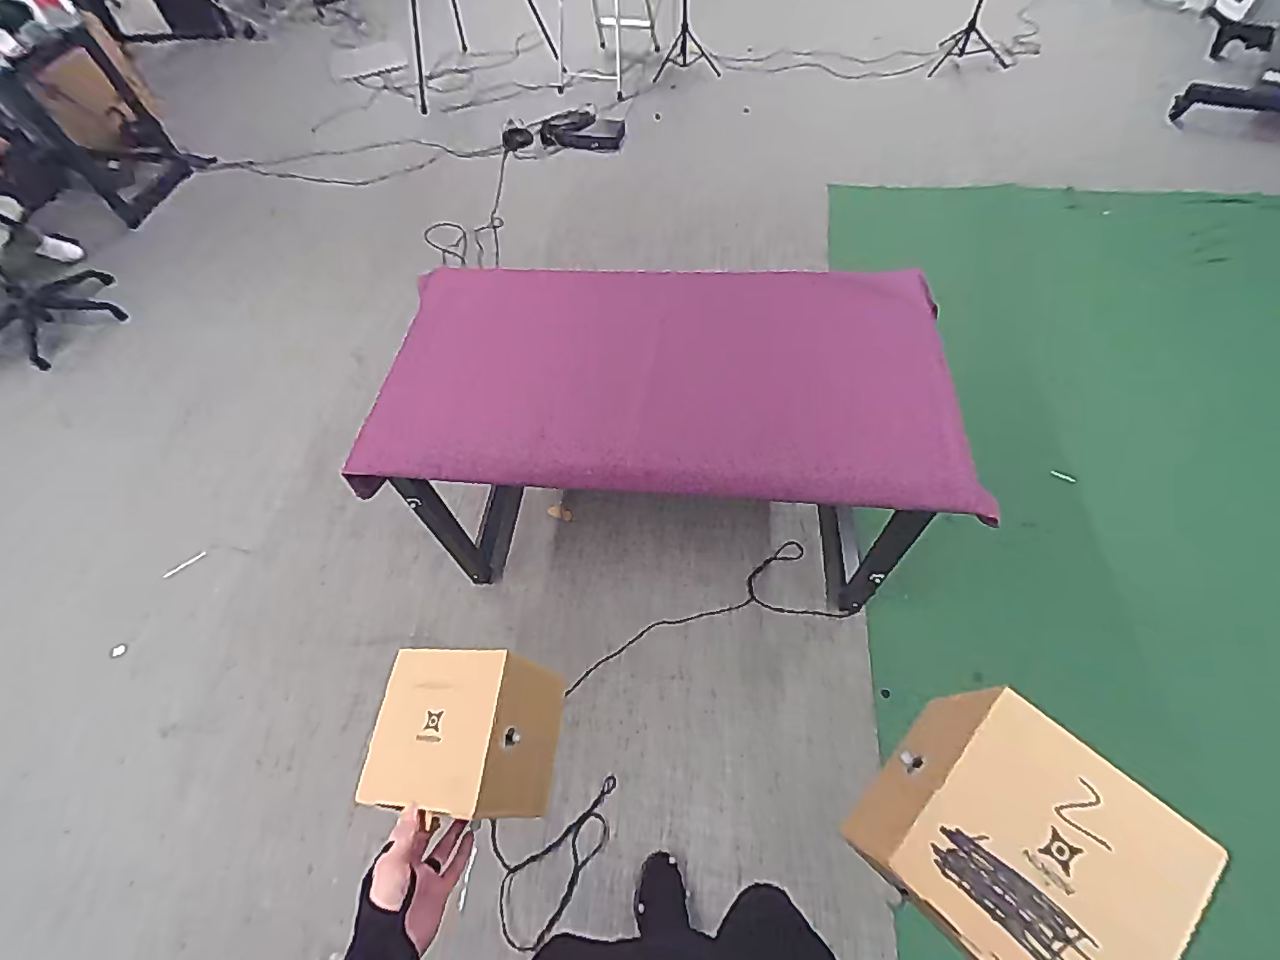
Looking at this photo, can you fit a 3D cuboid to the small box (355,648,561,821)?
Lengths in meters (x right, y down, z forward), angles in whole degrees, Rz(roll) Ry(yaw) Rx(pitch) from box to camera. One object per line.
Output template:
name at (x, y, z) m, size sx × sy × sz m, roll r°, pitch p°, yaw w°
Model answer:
small box at (-0.218, 0.326, 0.698) m, size 0.168 × 0.176 × 0.179 m, roll -4°, pitch 59°, yaw 19°
